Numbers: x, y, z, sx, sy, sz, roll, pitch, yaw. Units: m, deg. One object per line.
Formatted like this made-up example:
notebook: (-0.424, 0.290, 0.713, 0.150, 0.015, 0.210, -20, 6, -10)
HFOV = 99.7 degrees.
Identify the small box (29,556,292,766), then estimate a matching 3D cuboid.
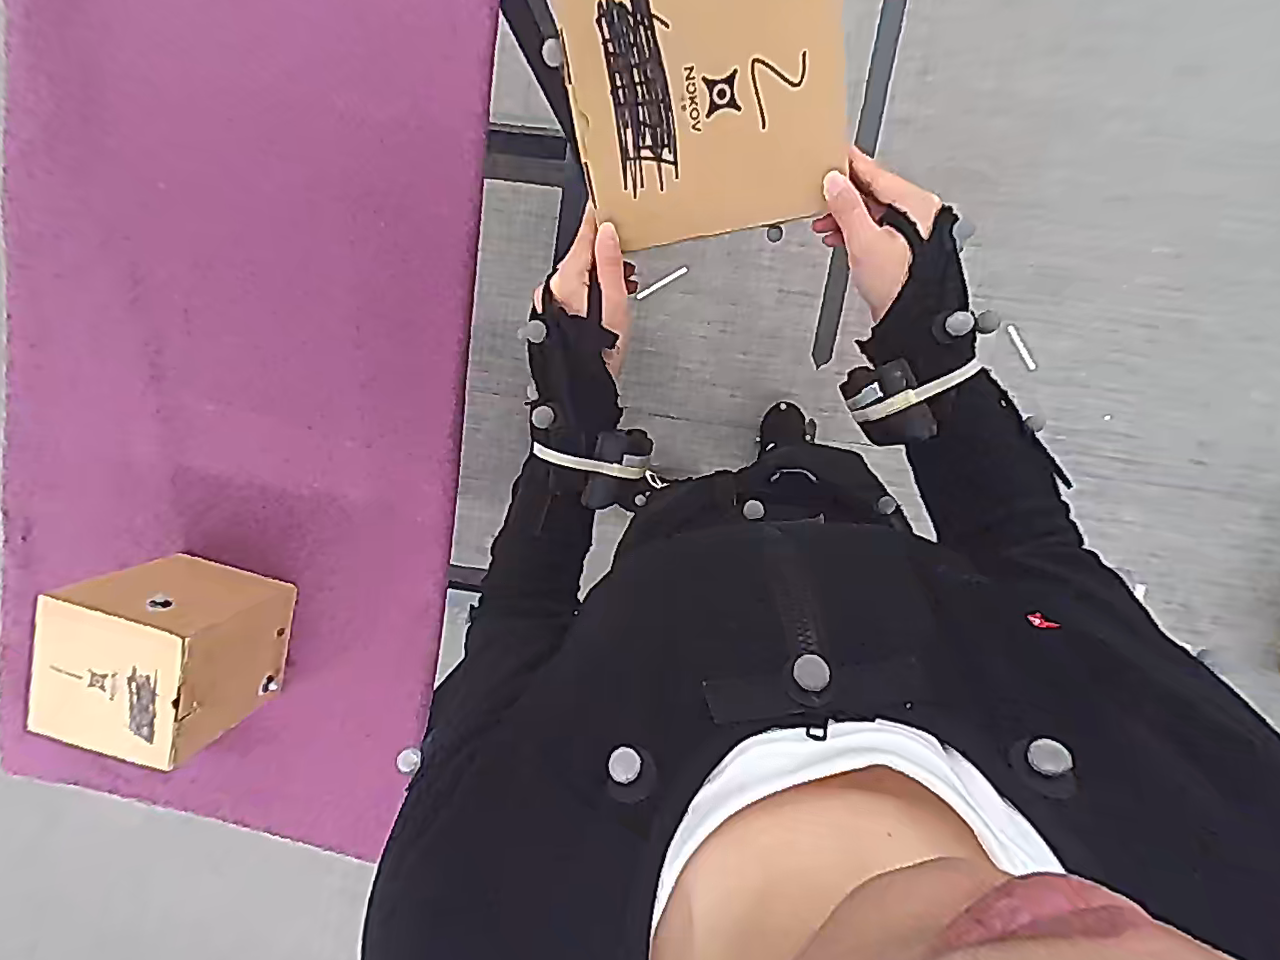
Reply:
small box: (-0.572, 0.206, 0.666, 0.179, 0.176, 0.168, 15, 98, 4)
